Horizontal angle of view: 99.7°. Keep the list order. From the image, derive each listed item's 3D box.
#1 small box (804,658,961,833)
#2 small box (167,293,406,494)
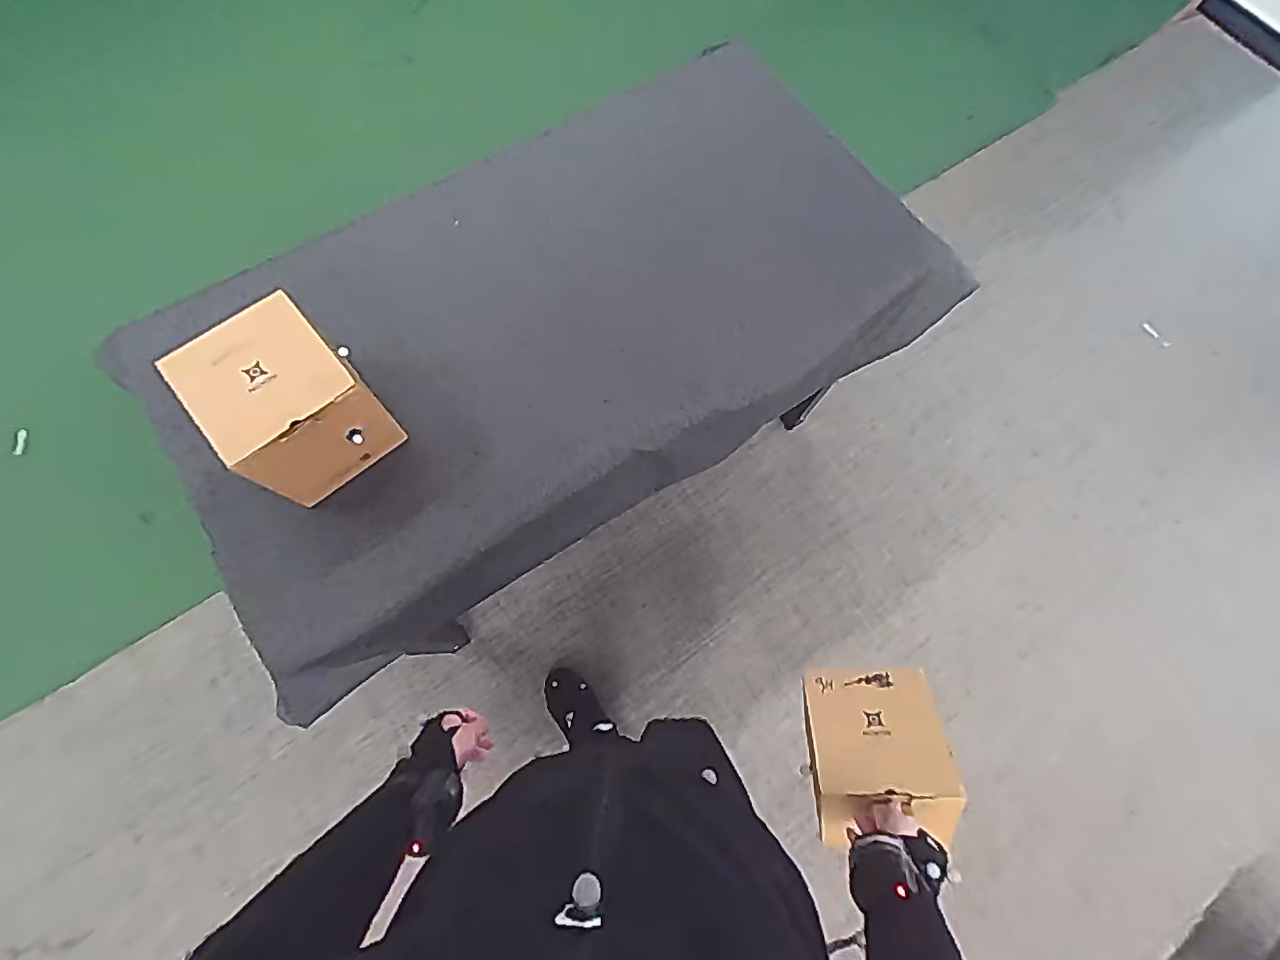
[{"bbox_3d":[0.329,0.376,0.766,0.168,0.176,0.179,-6,39,13],"label":"small box"},{"bbox_3d":[-0.445,-0.099,0.714,0.168,0.176,0.179,-40,78,-15],"label":"small box"}]
